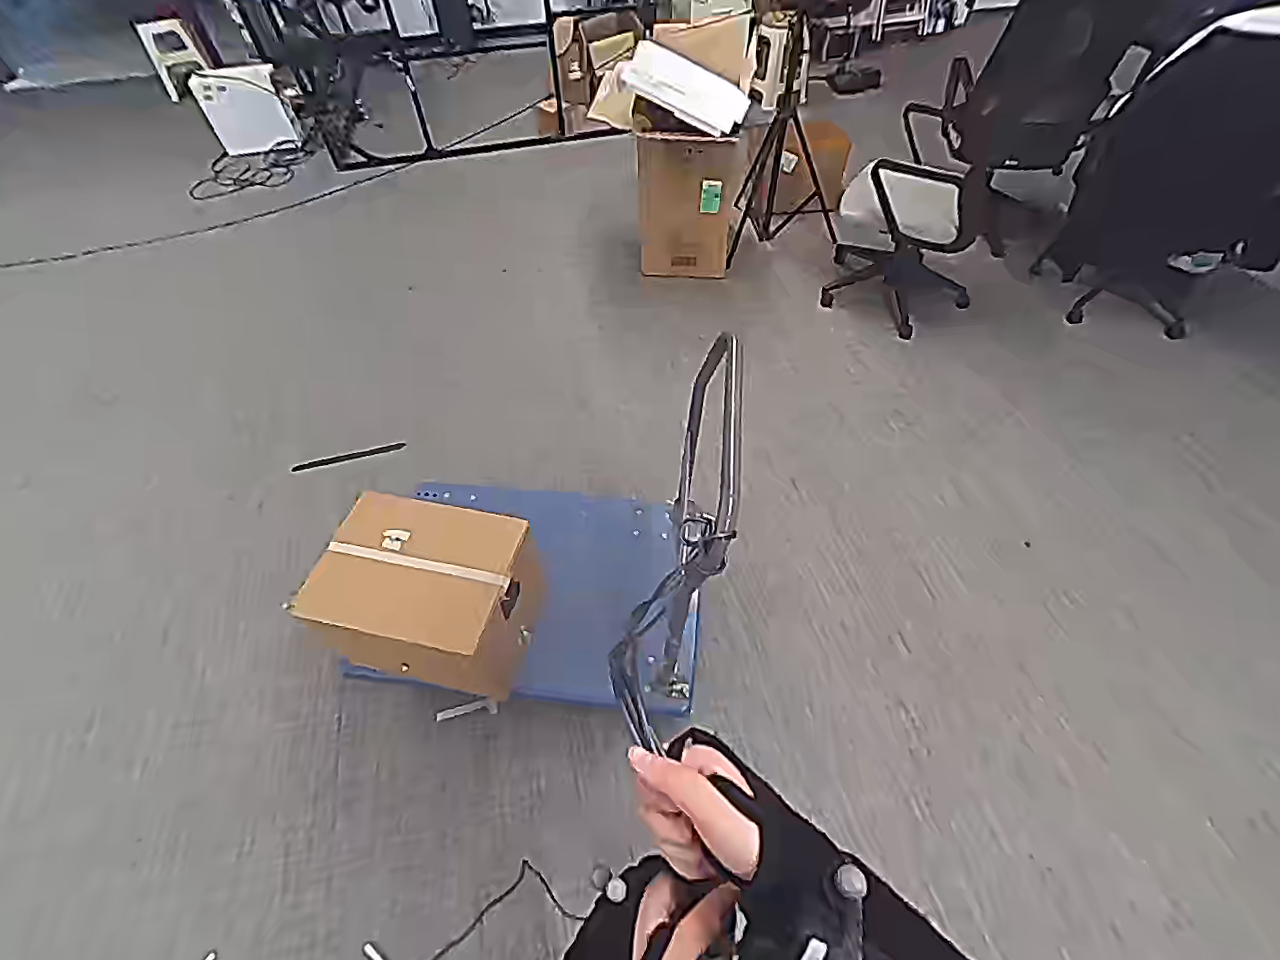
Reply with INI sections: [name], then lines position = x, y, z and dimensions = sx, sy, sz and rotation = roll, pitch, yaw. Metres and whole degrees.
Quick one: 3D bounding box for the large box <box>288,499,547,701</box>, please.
[large box]
position = -0.467, 0.279, 1.244
dimensions = 0.408, 0.320, 0.320
rotation = 9, 53, 9
